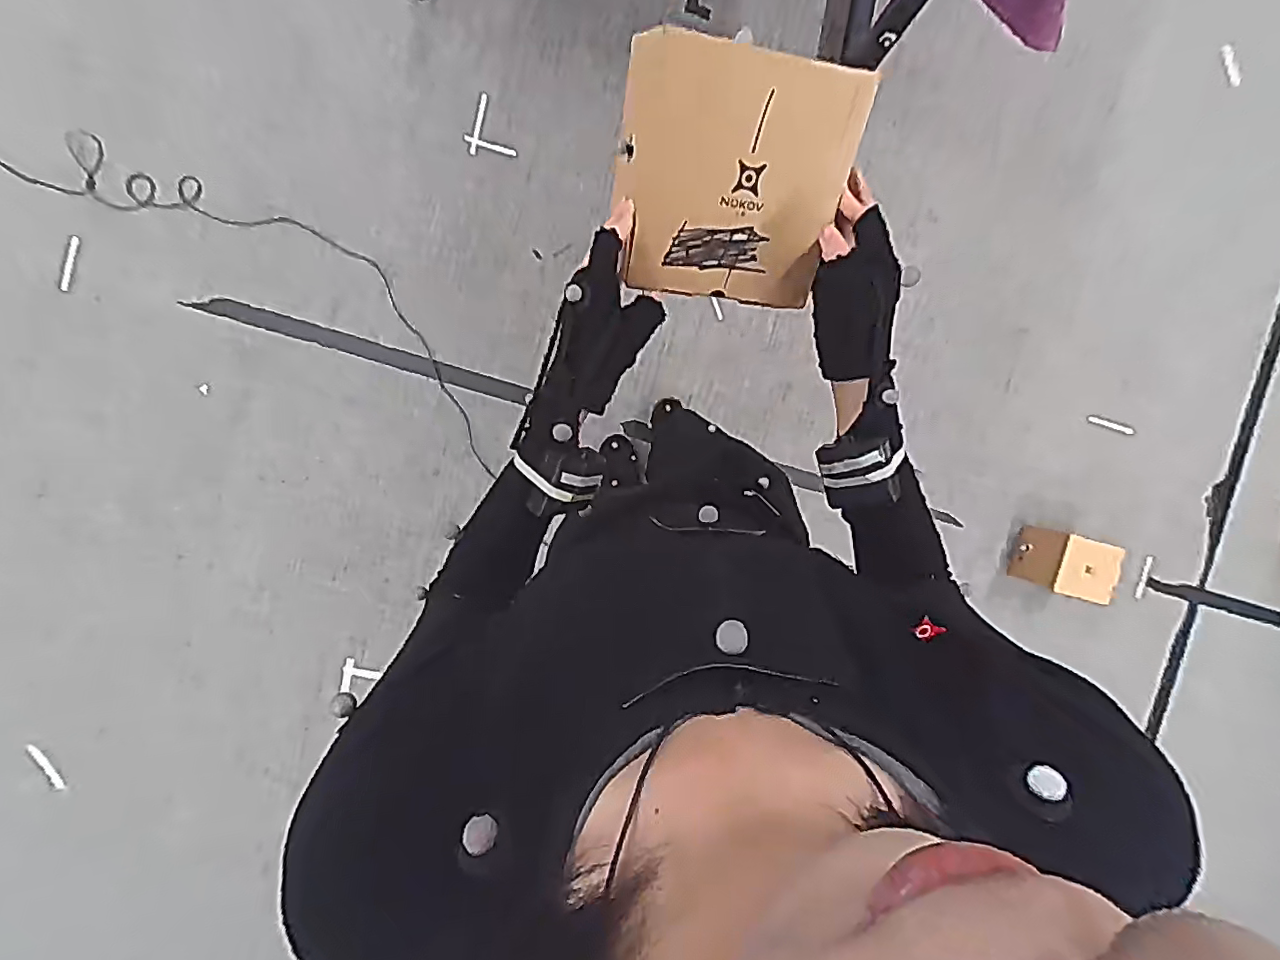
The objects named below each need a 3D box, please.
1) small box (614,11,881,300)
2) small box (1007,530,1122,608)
[{"bbox_3d":[0.072,-0.284,0.486,0.168,0.176,0.179,3,126,-12],"label":"small box"},{"bbox_3d":[1.217,0.249,1.561,0.179,0.176,0.168,15,92,-5],"label":"small box"}]
